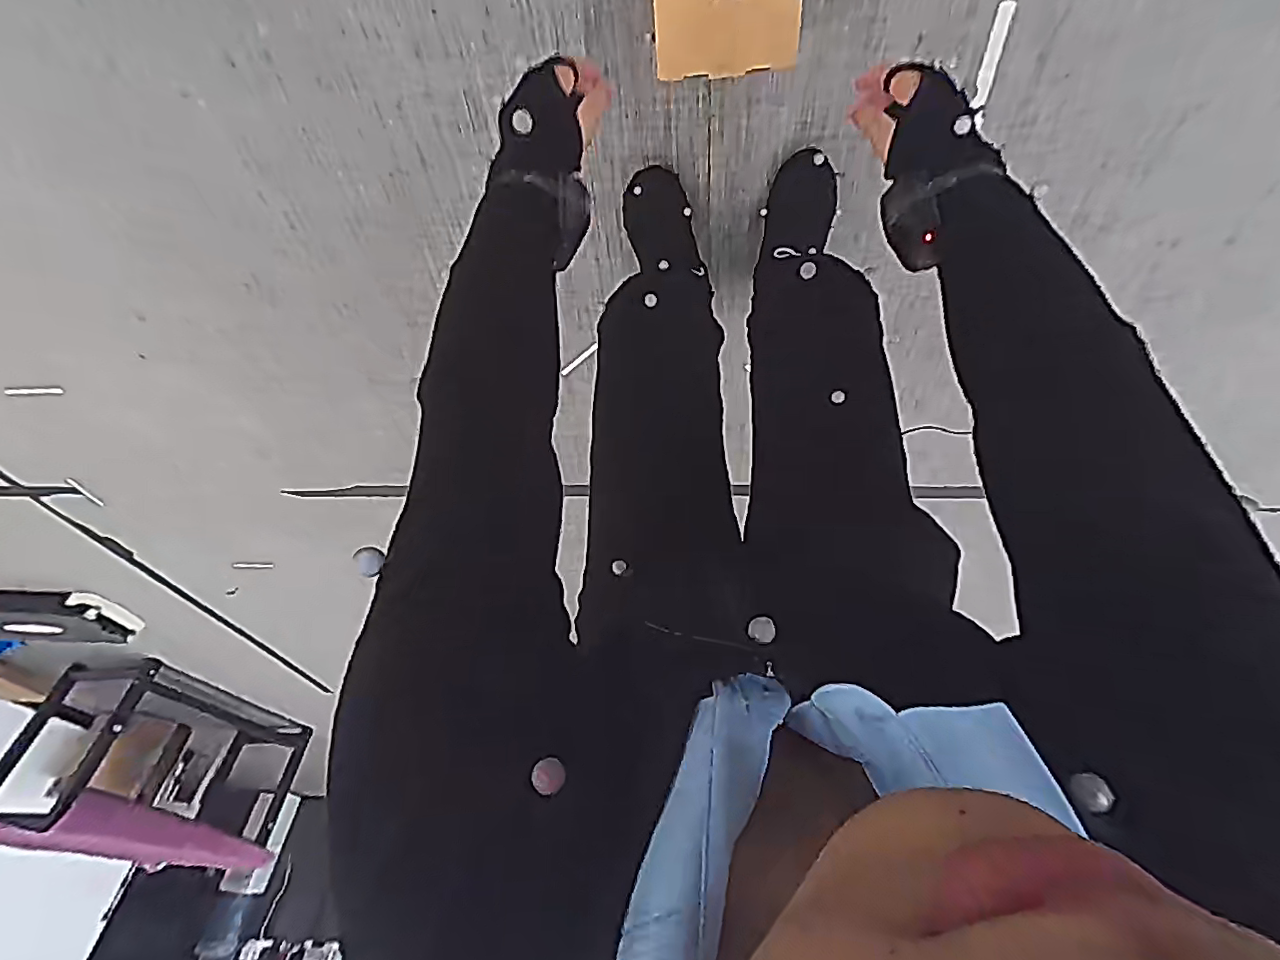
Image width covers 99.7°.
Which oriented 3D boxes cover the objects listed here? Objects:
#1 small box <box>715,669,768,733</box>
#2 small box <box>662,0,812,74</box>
[{"bbox_3d":[0.361,0.801,1.957,0.168,0.176,0.179,0,139,3],"label":"small box"},{"bbox_3d":[0.107,-0.603,0.623,0.168,0.176,0.179,-2,140,6],"label":"small box"}]
